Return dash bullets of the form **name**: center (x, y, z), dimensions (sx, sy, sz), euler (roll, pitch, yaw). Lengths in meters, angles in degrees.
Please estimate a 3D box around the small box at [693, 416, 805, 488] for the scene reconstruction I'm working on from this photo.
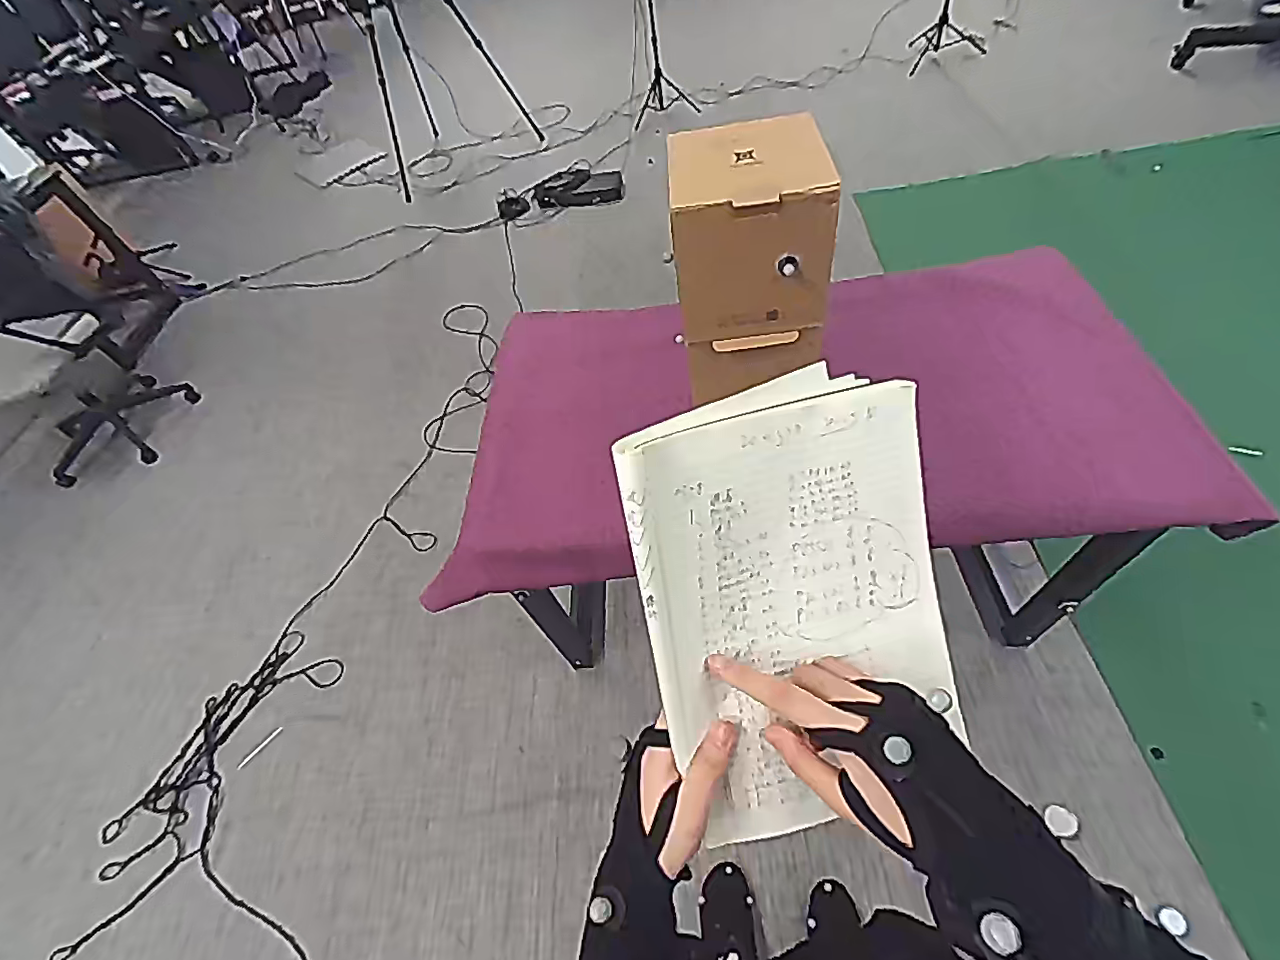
- **small box**: center (0.175, -0.098, 0.905), dimensions (0.168, 0.176, 0.179), euler (-5, 54, 7)

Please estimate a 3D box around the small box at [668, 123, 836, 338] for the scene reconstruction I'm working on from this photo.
- **small box**: center (0.124, -0.283, 0.639), dimensions (0.168, 0.176, 0.179), euler (-4, 52, 7)

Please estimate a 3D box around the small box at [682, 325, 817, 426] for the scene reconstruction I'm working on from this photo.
- **small box**: center (0.149, -0.190, 0.771), dimensions (0.168, 0.176, 0.179), euler (-5, 52, 7)
